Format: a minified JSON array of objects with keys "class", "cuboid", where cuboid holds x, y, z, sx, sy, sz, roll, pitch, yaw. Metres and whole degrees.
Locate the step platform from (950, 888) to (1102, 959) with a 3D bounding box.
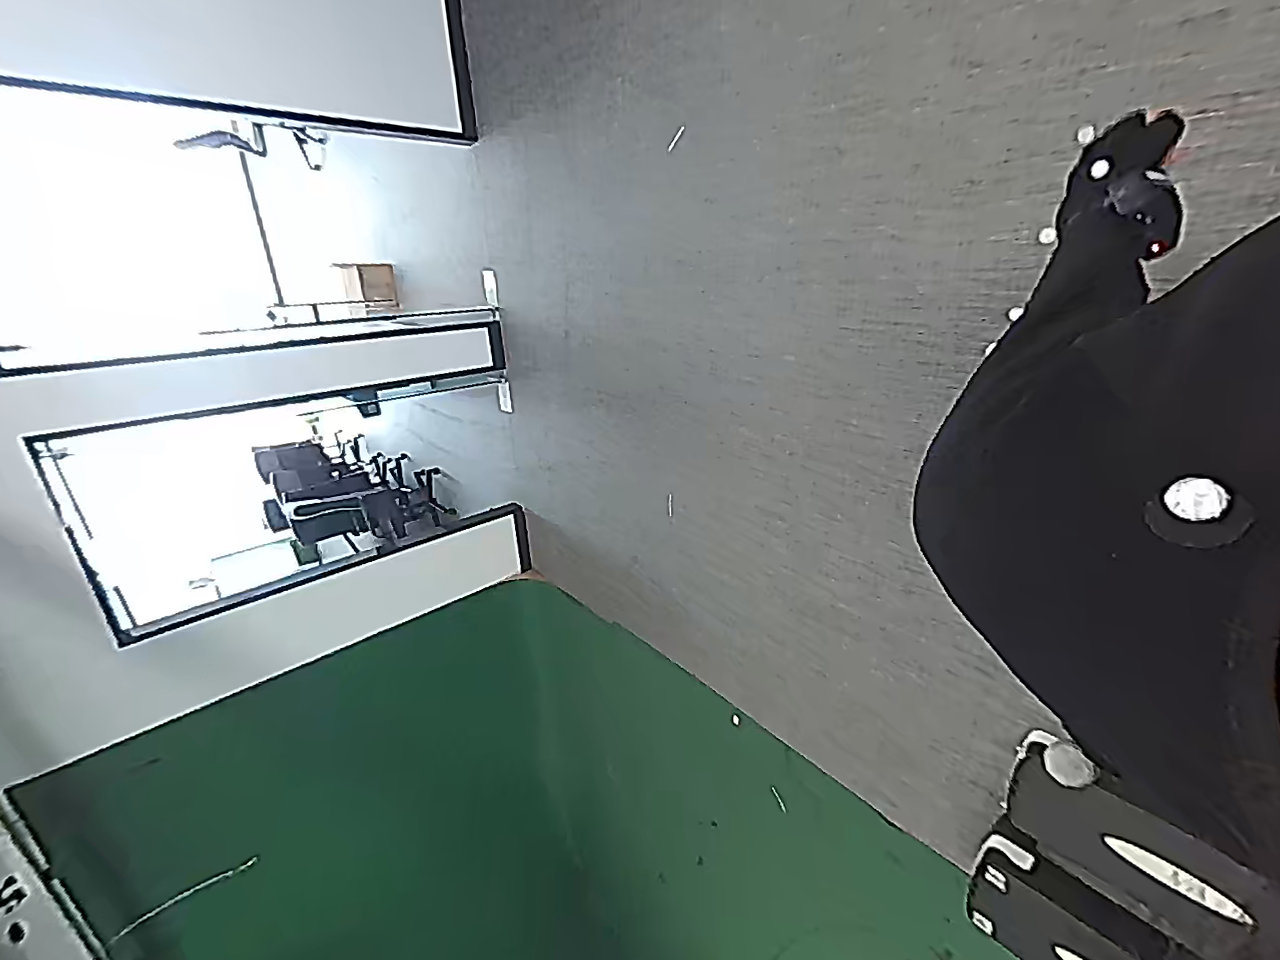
[{"class":"step platform","cuboid":[1.102,1.313,1.228,0.684,0.204,0.286,20,120,44]}]
